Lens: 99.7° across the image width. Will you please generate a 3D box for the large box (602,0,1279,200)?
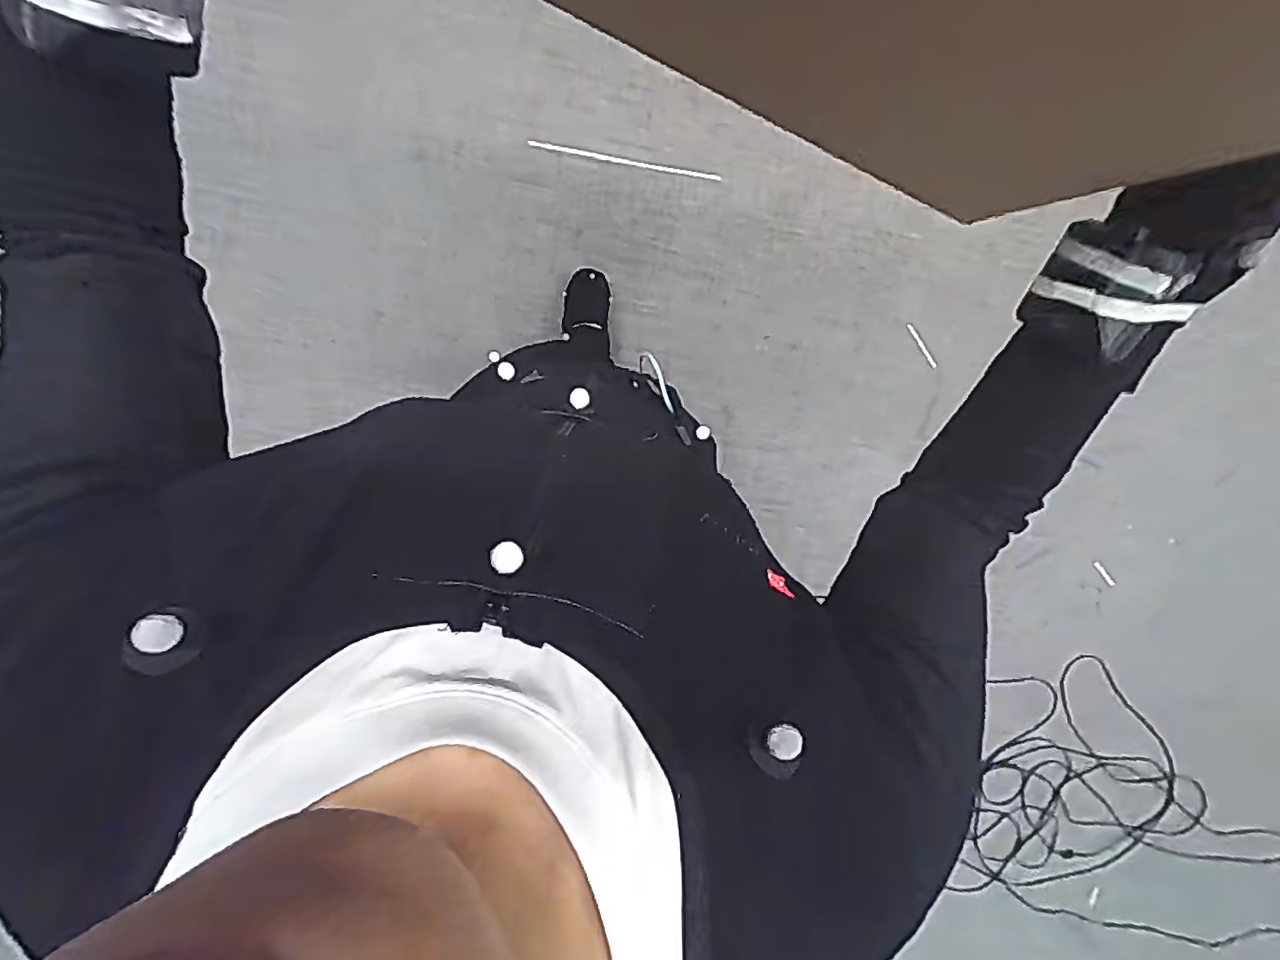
[{"bbox_3d":[0.111,-0.326,0.119,0.408,0.320,0.320,15,101,-19],"label":"large box"}]
